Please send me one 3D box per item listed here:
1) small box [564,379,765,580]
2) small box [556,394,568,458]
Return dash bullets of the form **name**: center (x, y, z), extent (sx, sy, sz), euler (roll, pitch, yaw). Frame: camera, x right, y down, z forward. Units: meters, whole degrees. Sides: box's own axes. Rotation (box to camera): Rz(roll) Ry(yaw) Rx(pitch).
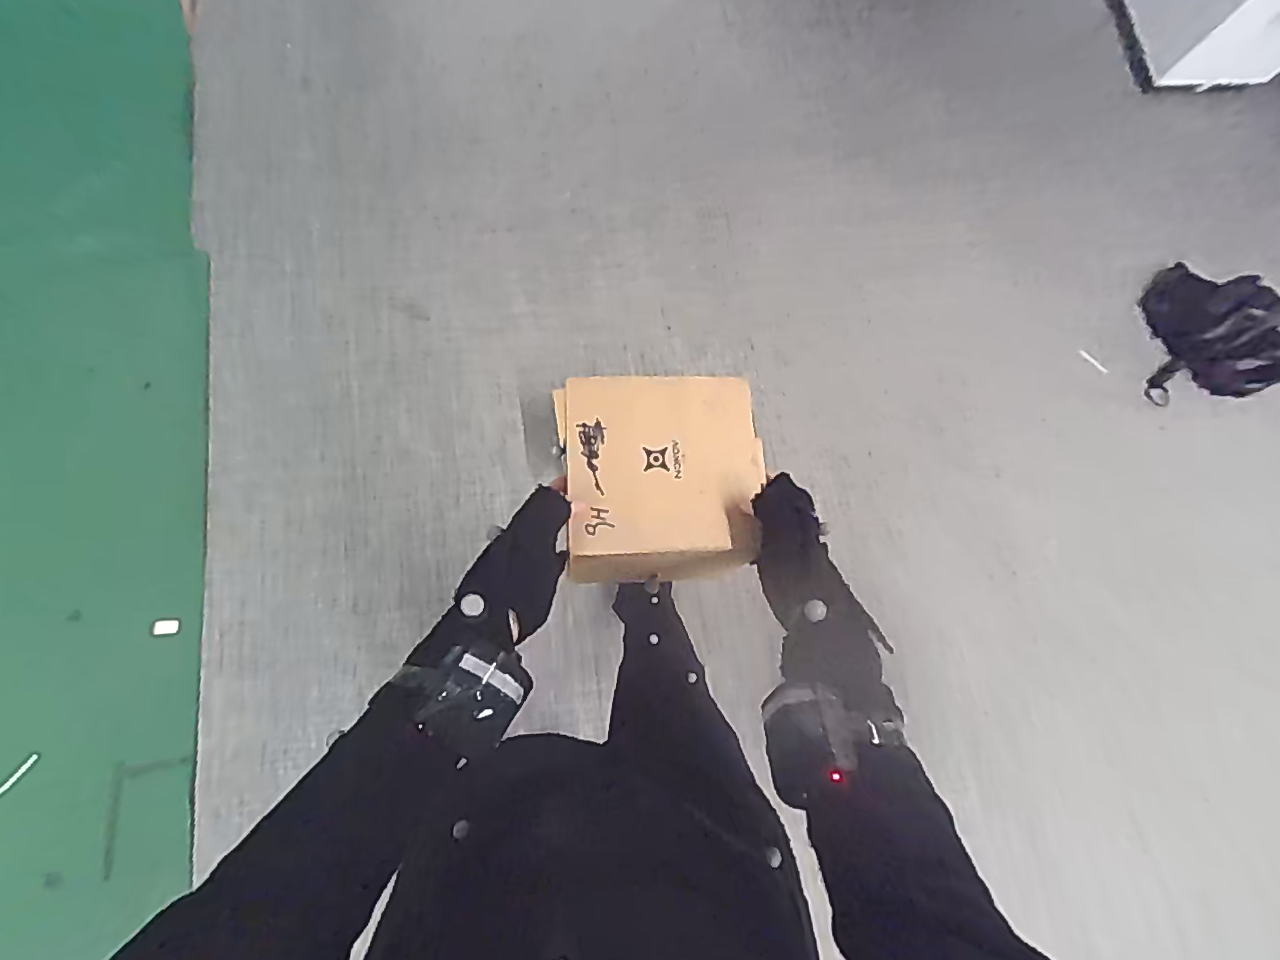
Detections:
- **small box**: center (0.011, 0.009, 0.562), extent (0.179, 0.176, 0.168), euler (-1, 71, -8)
- **small box**: center (-0.093, -0.102, 1.262), extent (0.179, 0.176, 0.168), euler (-9, 77, -5)
